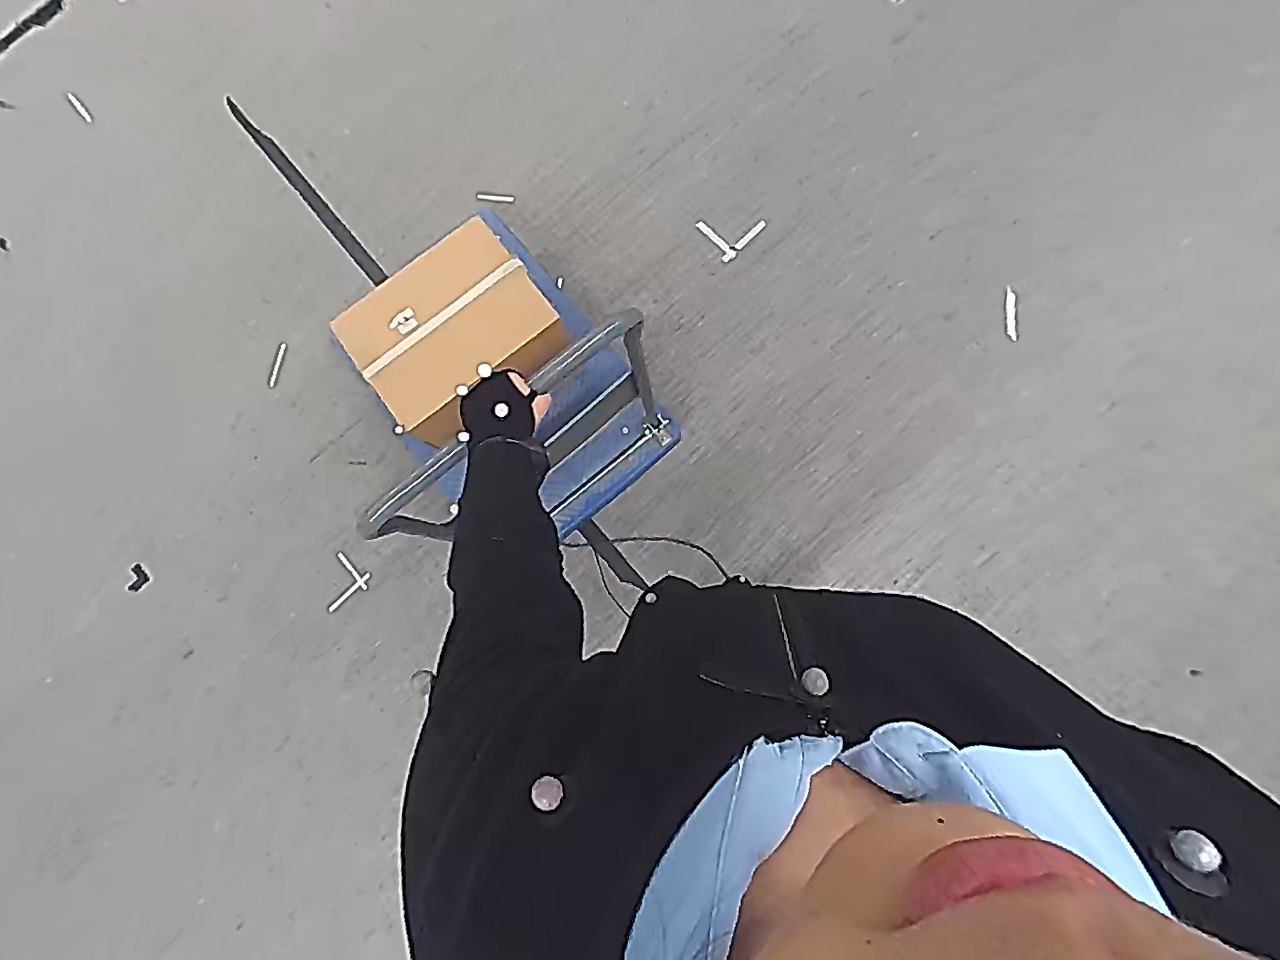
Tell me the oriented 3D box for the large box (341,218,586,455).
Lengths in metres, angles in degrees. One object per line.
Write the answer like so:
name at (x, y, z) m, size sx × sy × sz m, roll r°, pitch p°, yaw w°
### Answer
large box at (-0.399, -0.320, 1.308) m, size 0.408 × 0.320 × 0.320 m, roll -38°, pitch 79°, yaw -1°
